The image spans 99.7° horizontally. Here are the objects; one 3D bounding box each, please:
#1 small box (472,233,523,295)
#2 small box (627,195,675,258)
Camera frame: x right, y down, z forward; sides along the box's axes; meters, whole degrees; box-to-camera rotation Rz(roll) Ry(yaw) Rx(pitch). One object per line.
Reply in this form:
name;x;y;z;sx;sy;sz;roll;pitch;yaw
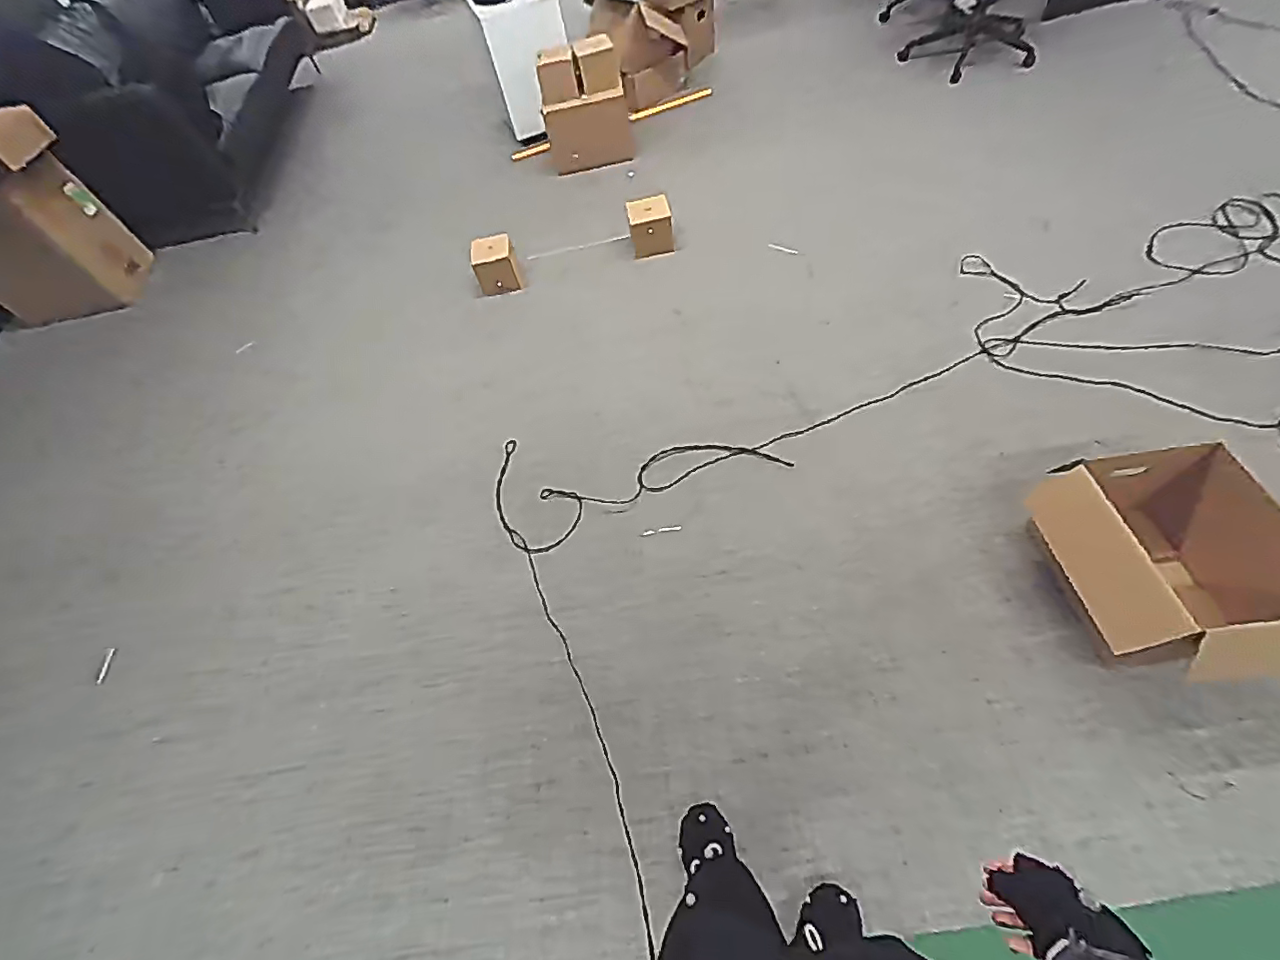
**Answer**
small box;-0.615;-0.935;2.346;0.168;0.176;0.179;-12;57;2
small box;0.052;-1.090;2.329;0.179;0.176;0.168;-12;57;3
